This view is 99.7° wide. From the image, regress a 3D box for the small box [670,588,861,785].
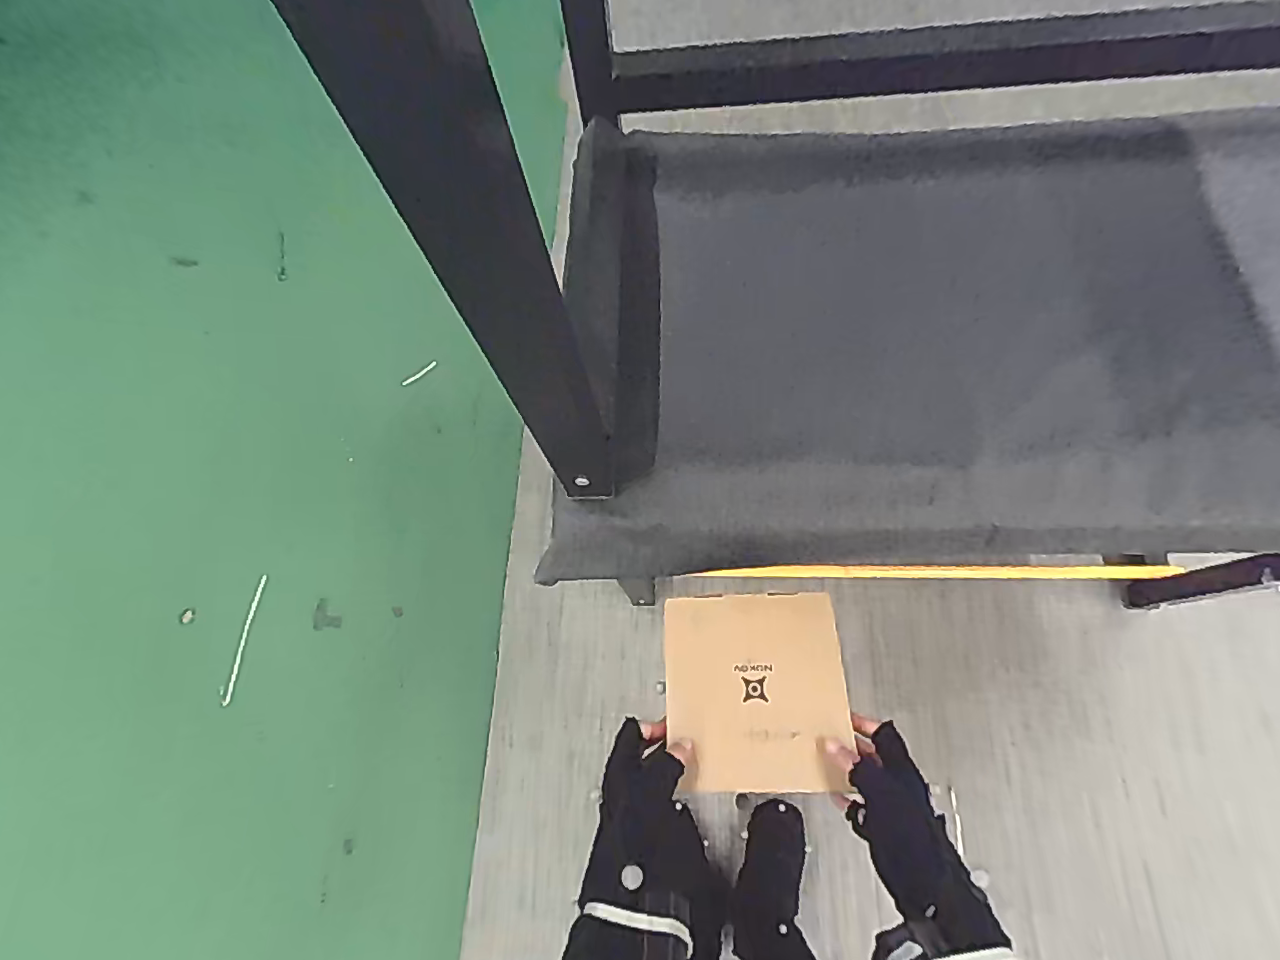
[{"bbox_3d":[0.120,0.226,0.582,0.168,0.176,0.179,-4,62,7],"label":"small box"}]
